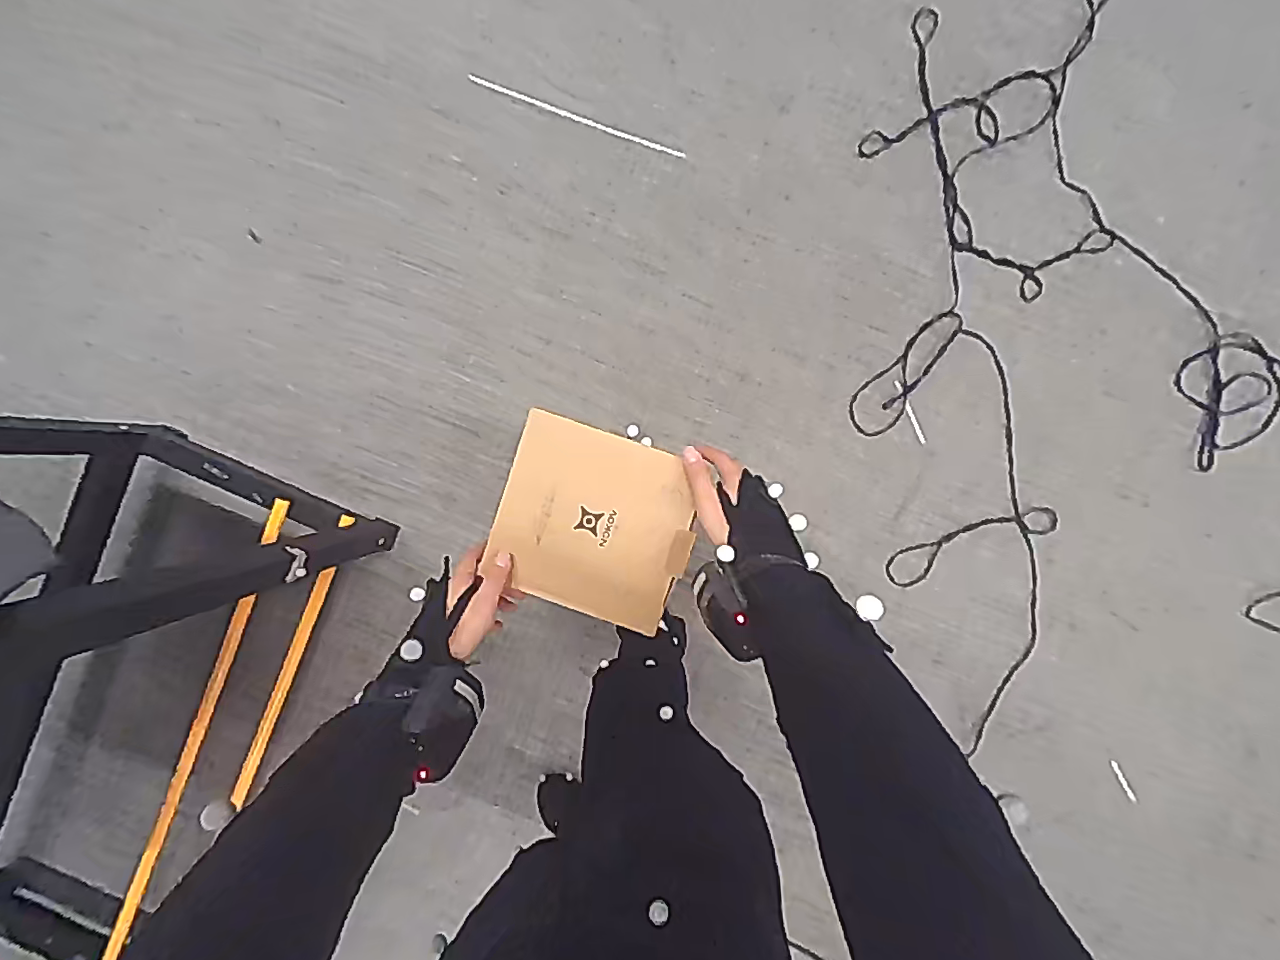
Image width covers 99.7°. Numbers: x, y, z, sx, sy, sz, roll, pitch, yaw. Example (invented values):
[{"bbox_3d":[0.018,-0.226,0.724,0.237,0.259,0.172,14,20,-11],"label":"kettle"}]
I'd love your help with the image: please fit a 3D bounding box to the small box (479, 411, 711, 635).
[{"bbox_3d":[-0.038,0.036,0.571,0.179,0.176,0.168,19,93,3],"label":"small box"}]
